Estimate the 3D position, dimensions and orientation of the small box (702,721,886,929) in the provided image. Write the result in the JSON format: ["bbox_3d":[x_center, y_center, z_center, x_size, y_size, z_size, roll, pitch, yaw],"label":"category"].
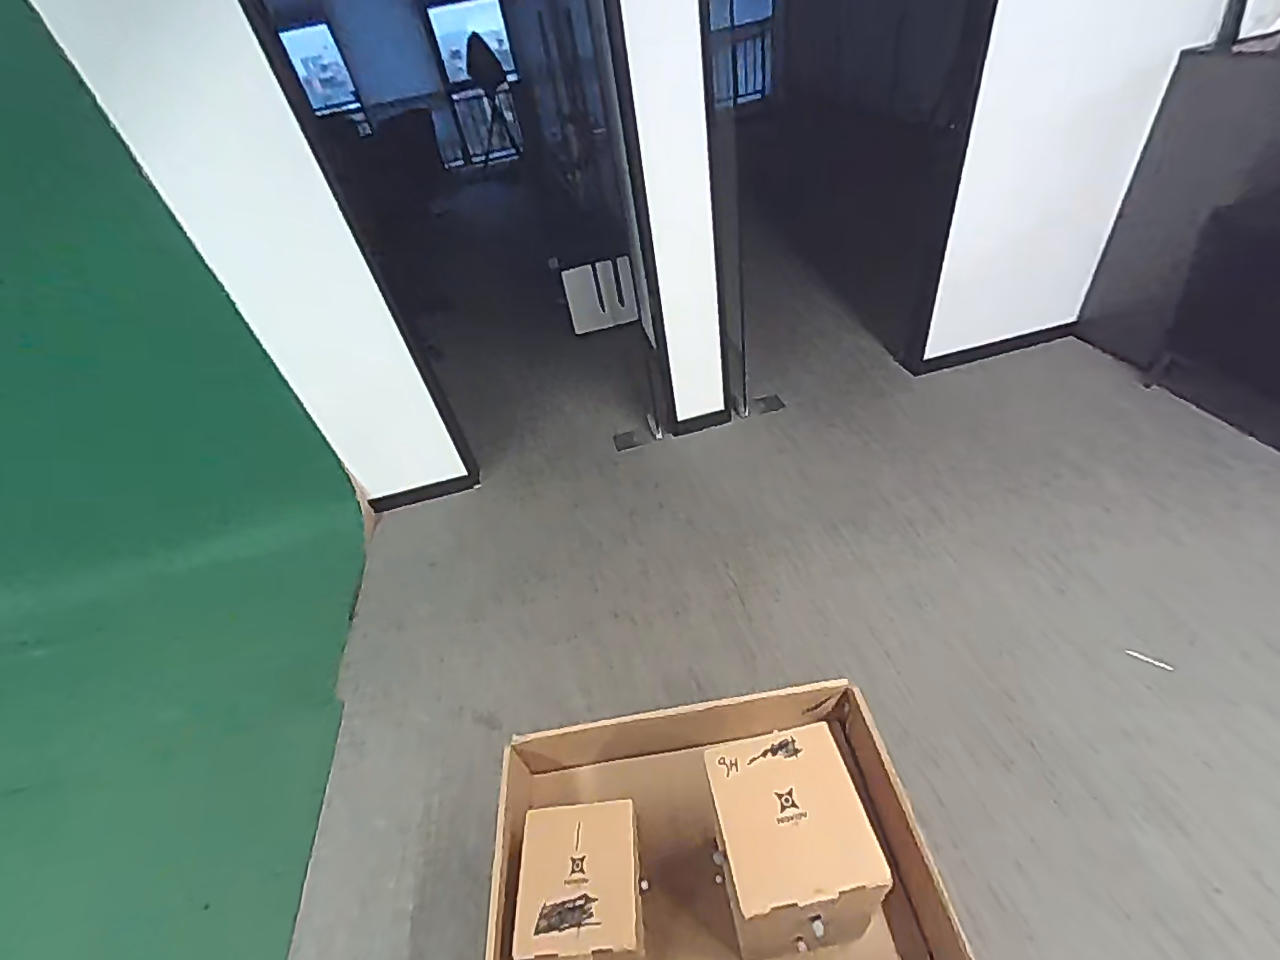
[{"bbox_3d":[0.184,0.441,0.685,0.168,0.176,0.179,-13,42,-1],"label":"small box"}]
